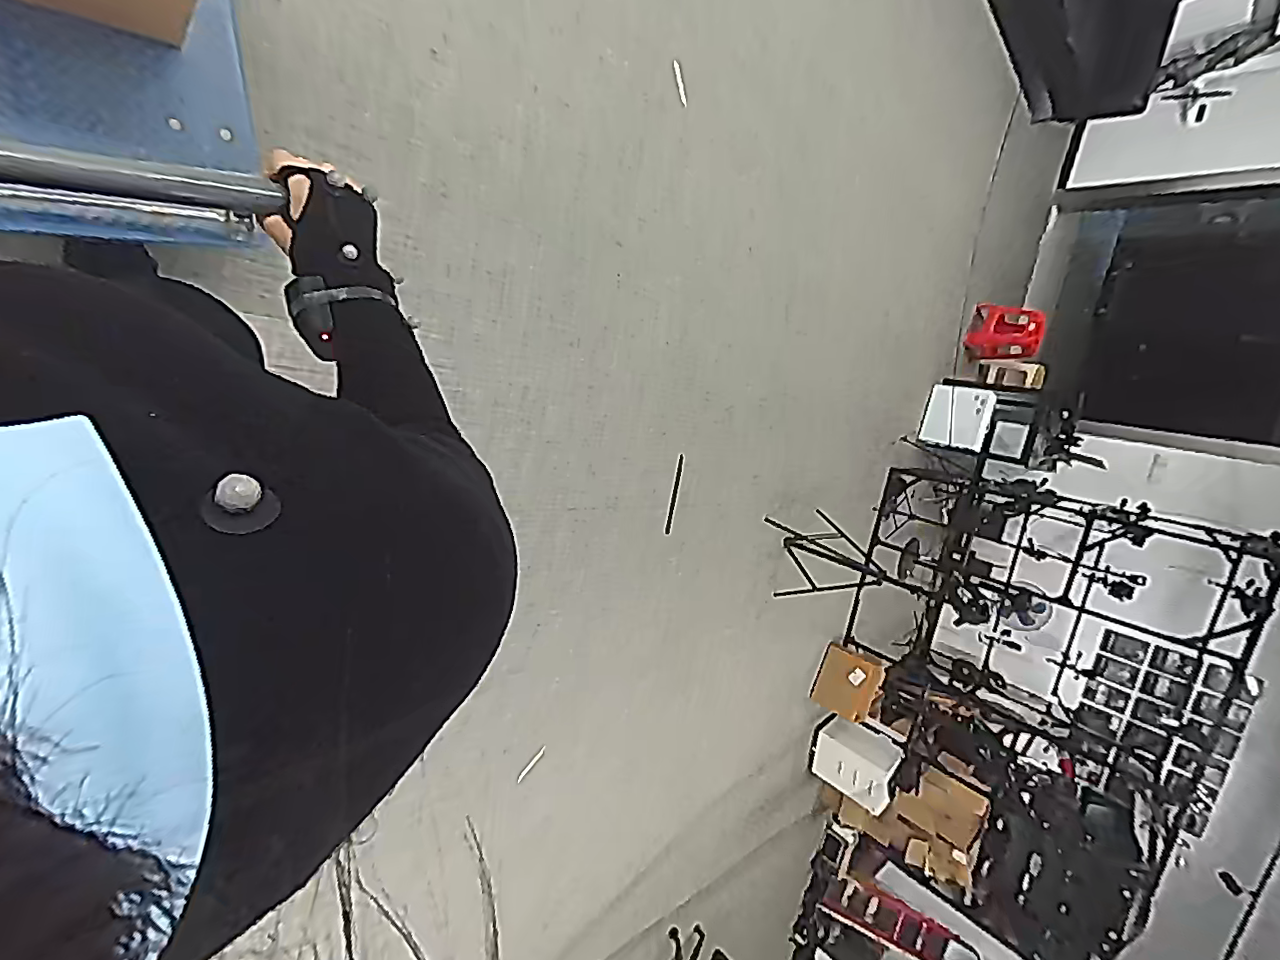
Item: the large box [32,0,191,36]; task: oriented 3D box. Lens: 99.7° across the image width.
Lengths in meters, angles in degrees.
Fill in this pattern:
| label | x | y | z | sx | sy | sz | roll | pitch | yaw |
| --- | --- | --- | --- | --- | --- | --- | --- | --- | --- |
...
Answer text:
| label | x | y | z | sx | sy | sz | roll | pitch | yaw |
| --- | --- | --- | --- | --- | --- | --- | --- | --- | --- |
| large box | -0.814 | -0.807 | 0.631 | 0.408 | 0.320 | 0.320 | -13 | 113 | -41 |
